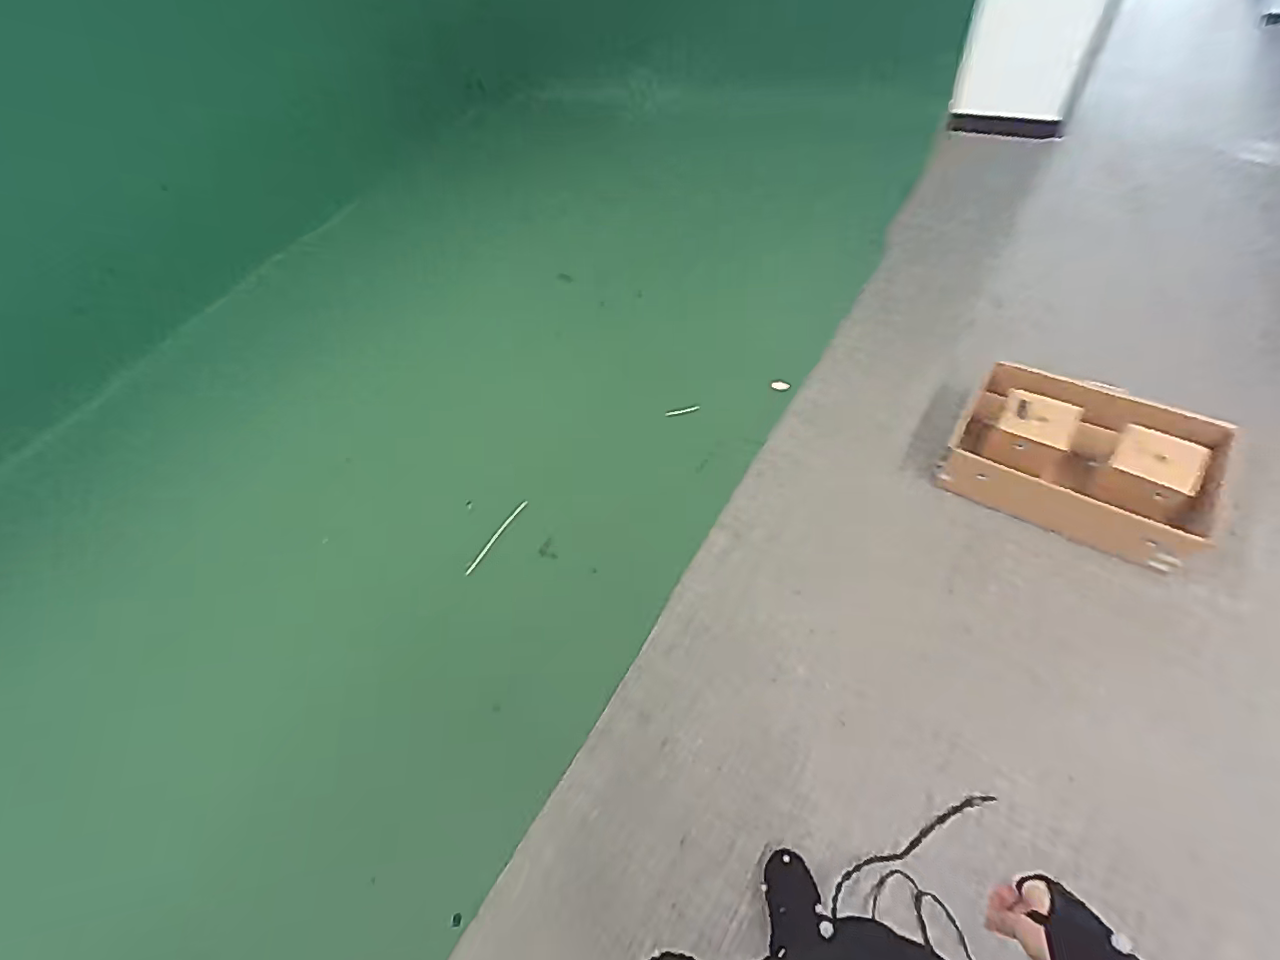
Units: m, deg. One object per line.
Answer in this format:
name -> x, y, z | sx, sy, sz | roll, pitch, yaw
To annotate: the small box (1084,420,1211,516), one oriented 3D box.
small box -> 1.362, -0.027, 1.461 | 0.179, 0.176, 0.168 | 29, 69, 27
